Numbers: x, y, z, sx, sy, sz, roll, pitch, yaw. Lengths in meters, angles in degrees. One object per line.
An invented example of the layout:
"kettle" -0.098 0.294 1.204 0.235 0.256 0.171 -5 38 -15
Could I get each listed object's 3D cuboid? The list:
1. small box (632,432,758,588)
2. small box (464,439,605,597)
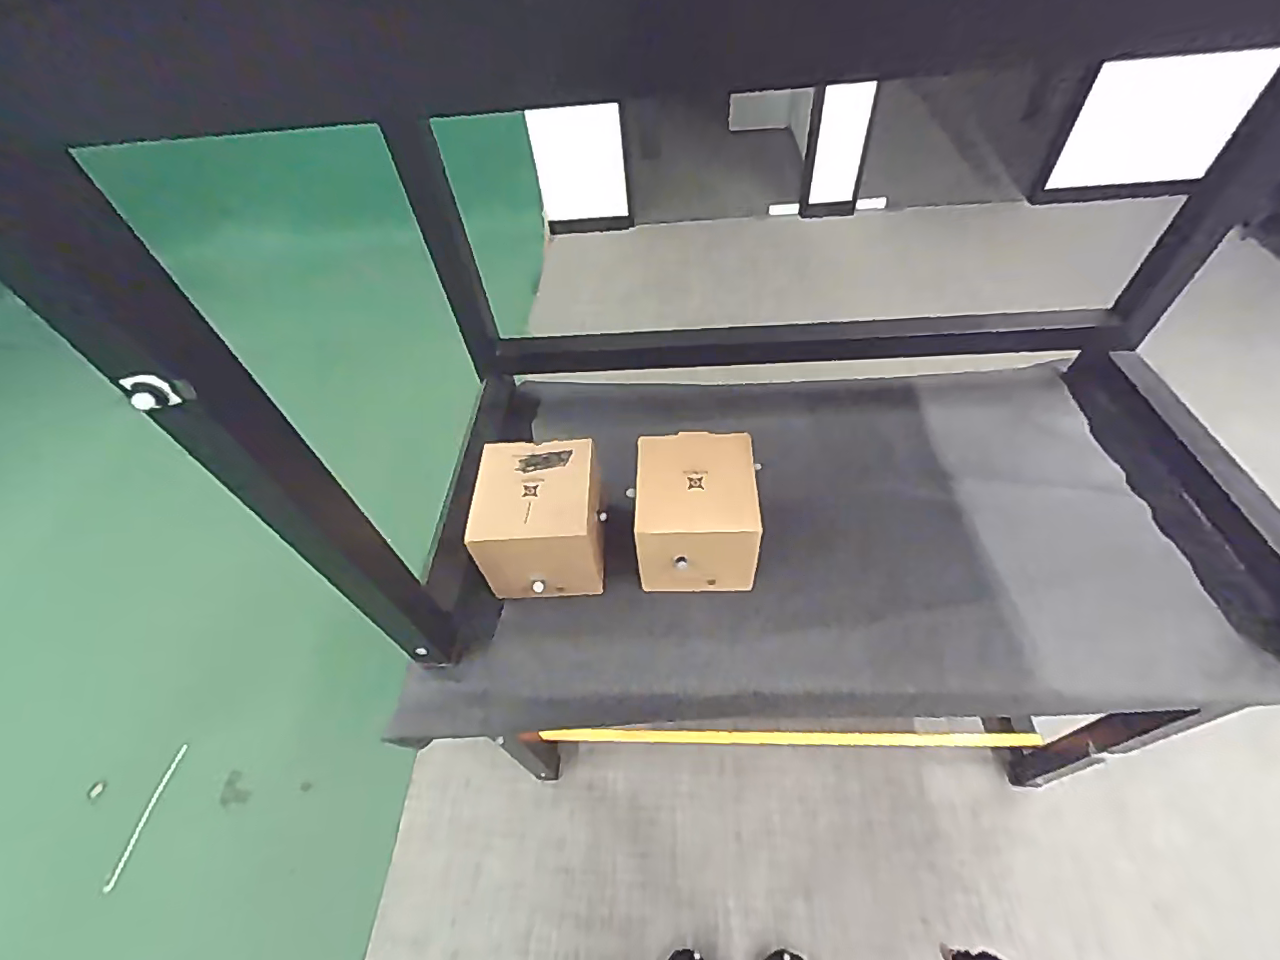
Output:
"small box" 0.081 0.050 0.807 0.168 0.176 0.179 -1 50 5
"small box" -0.145 0.059 0.819 0.168 0.176 0.179 -3 51 3
